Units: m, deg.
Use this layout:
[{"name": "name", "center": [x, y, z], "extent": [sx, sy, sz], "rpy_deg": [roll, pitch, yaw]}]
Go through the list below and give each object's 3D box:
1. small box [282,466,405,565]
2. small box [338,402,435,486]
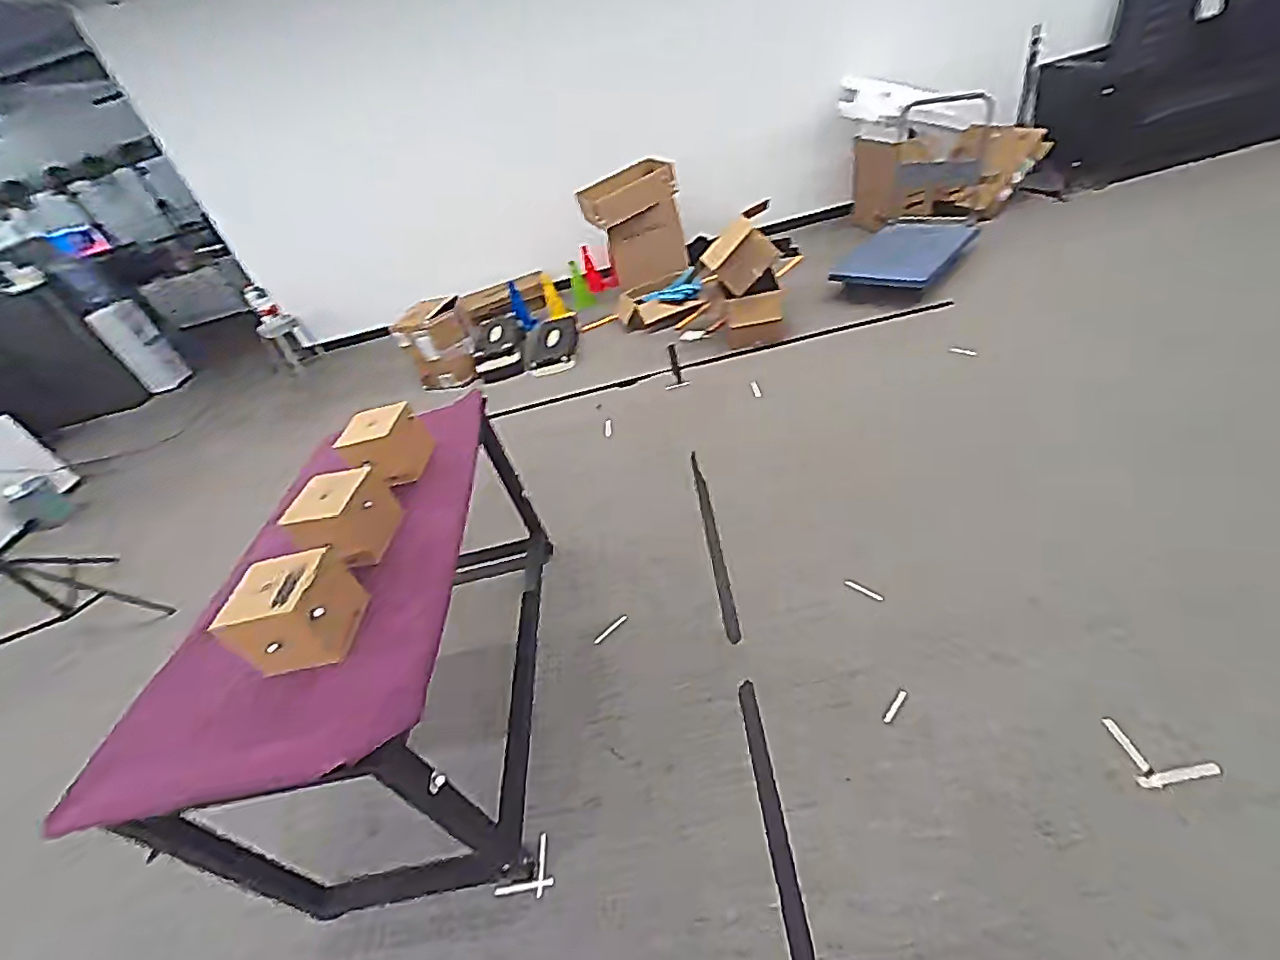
[{"name": "small box", "center": [-0.710, 0.092, 1.321], "extent": [0.168, 0.176, 0.179], "rpy_deg": [-8, 39, 11]}, {"name": "small box", "center": [-0.717, -0.095, 1.554], "extent": [0.168, 0.176, 0.179], "rpy_deg": [-12, 38, 9]}]
